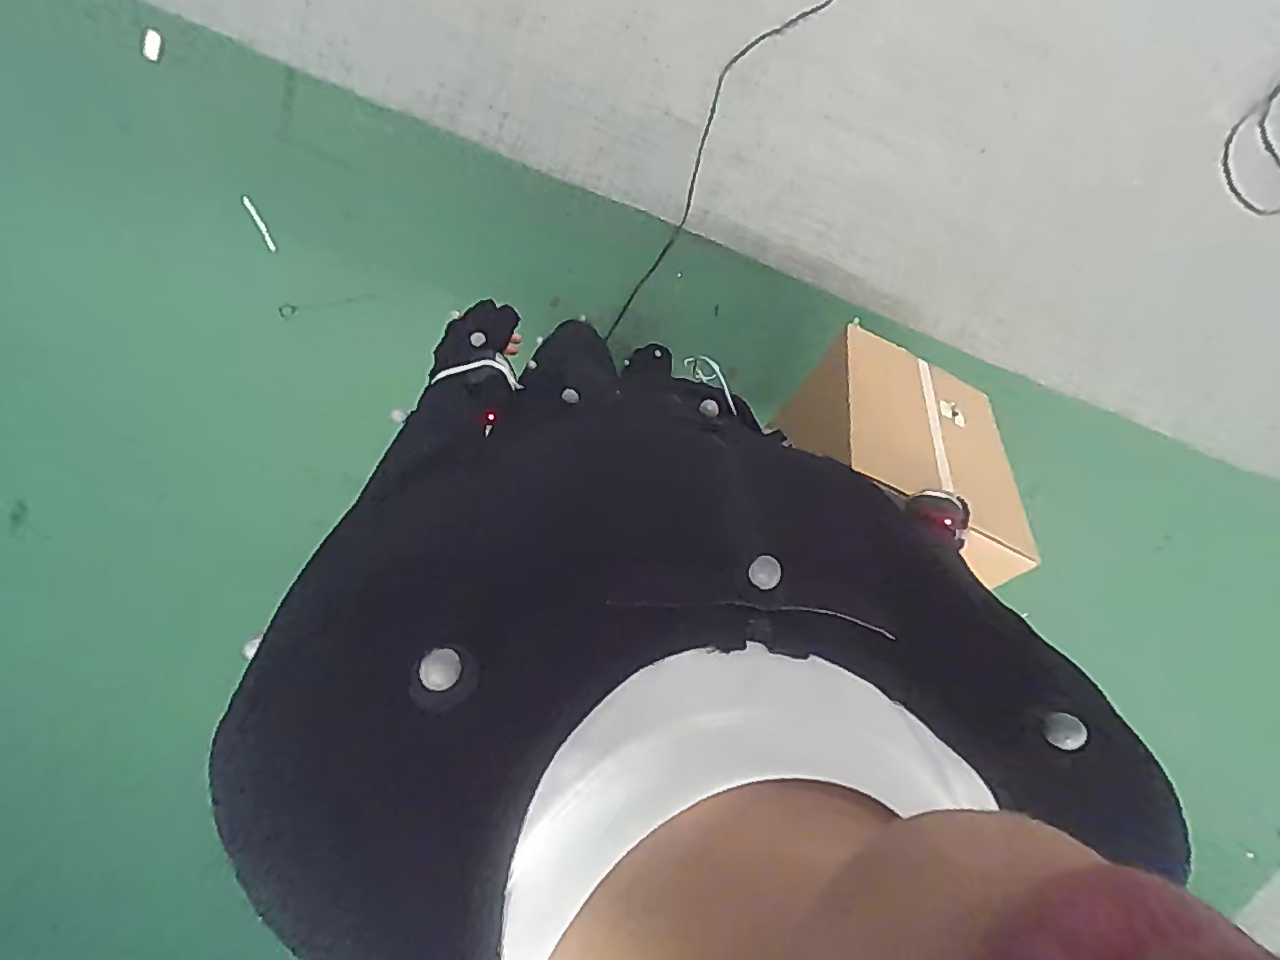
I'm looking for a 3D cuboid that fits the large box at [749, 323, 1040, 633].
[{"bbox_3d":[0.419,-0.003,0.985,0.320,0.408,0.320,25,136,-6],"label":"large box"}]
